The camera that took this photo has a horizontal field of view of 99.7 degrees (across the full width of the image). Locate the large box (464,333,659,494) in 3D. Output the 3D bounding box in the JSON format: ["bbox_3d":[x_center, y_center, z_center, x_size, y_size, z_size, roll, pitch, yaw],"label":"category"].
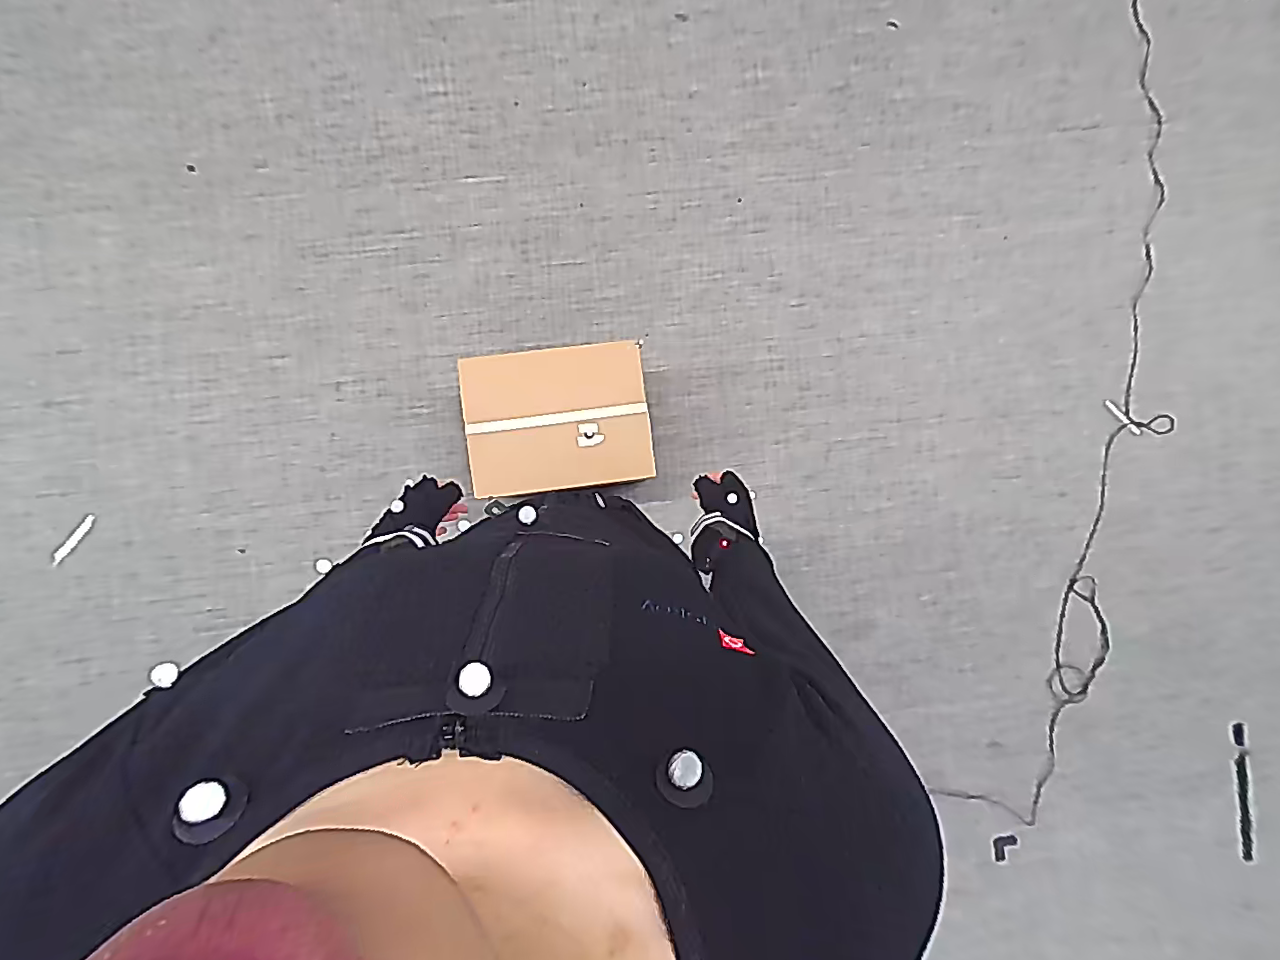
[{"bbox_3d":[-0.183,-0.146,1.346,0.408,0.320,0.320,-8,90,-4],"label":"large box"}]
